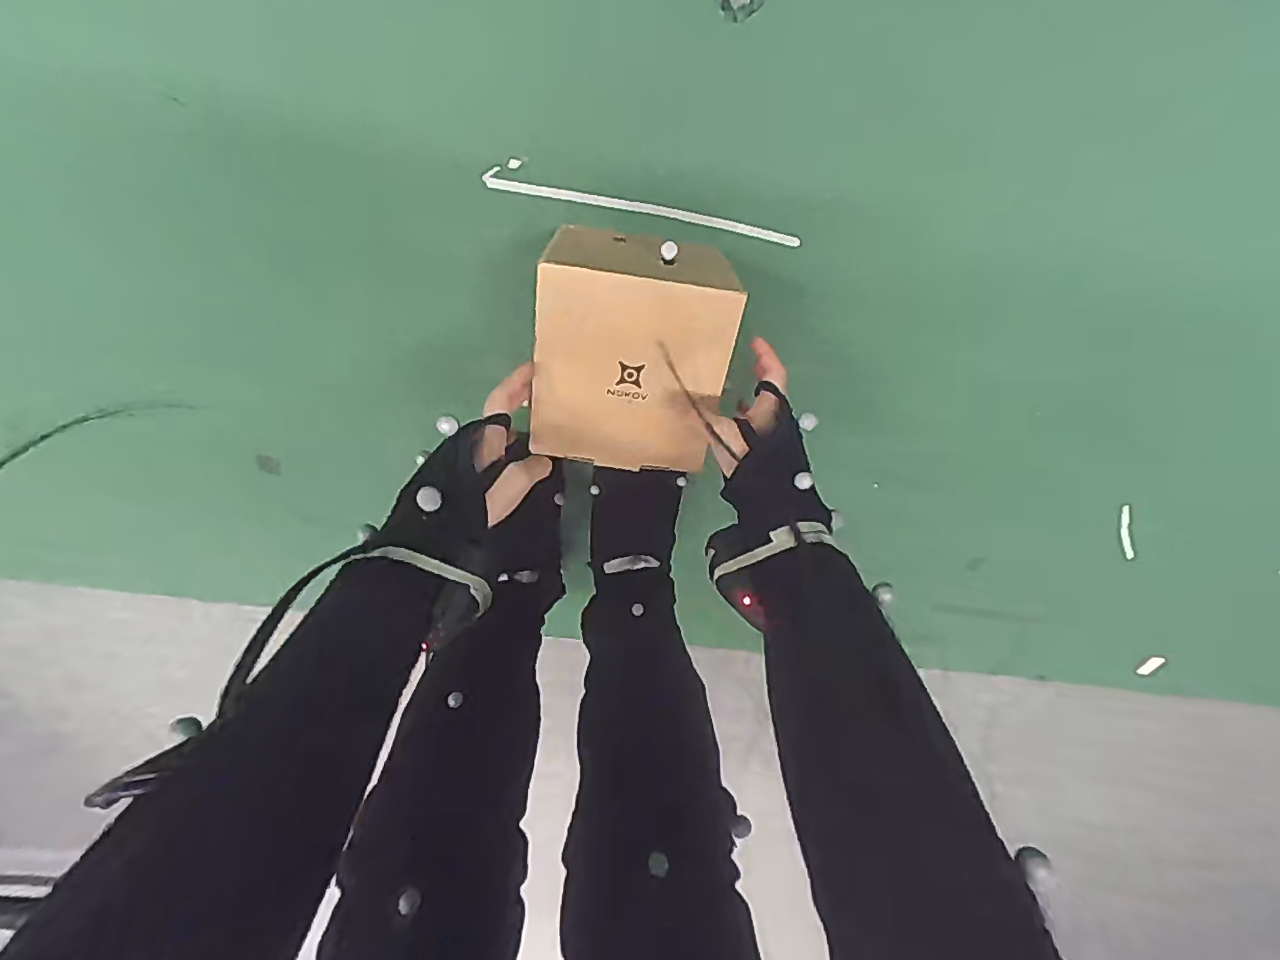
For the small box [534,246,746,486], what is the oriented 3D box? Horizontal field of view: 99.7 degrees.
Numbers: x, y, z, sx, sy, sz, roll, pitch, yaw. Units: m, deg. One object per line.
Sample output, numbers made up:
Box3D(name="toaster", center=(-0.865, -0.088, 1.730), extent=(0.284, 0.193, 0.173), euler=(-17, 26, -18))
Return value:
Box3D(name="small box", center=(-0.009, -0.118, 0.534), extent=(0.168, 0.176, 0.179), euler=(6, 124, -5))
